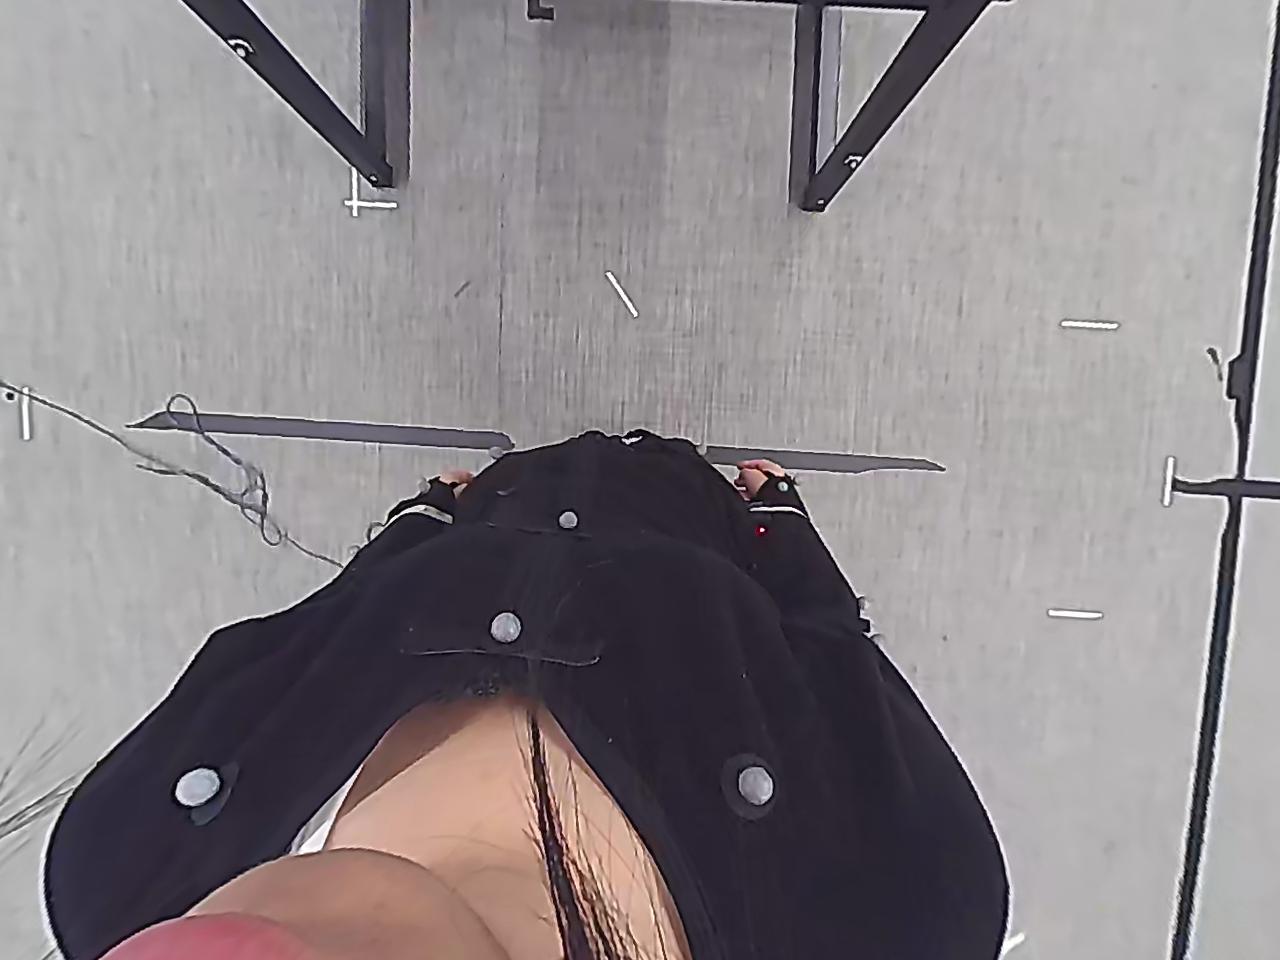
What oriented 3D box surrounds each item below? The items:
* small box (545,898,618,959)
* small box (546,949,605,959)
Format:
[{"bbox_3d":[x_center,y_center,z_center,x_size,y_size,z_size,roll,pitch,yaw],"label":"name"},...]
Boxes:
[{"bbox_3d":[-0.154,1.286,1.474,0.168,0.176,0.179,-11,93,-1],"label":"small box"},{"bbox_3d":[-0.157,1.304,1.310,0.168,0.176,0.179,-11,94,-2],"label":"small box"}]
